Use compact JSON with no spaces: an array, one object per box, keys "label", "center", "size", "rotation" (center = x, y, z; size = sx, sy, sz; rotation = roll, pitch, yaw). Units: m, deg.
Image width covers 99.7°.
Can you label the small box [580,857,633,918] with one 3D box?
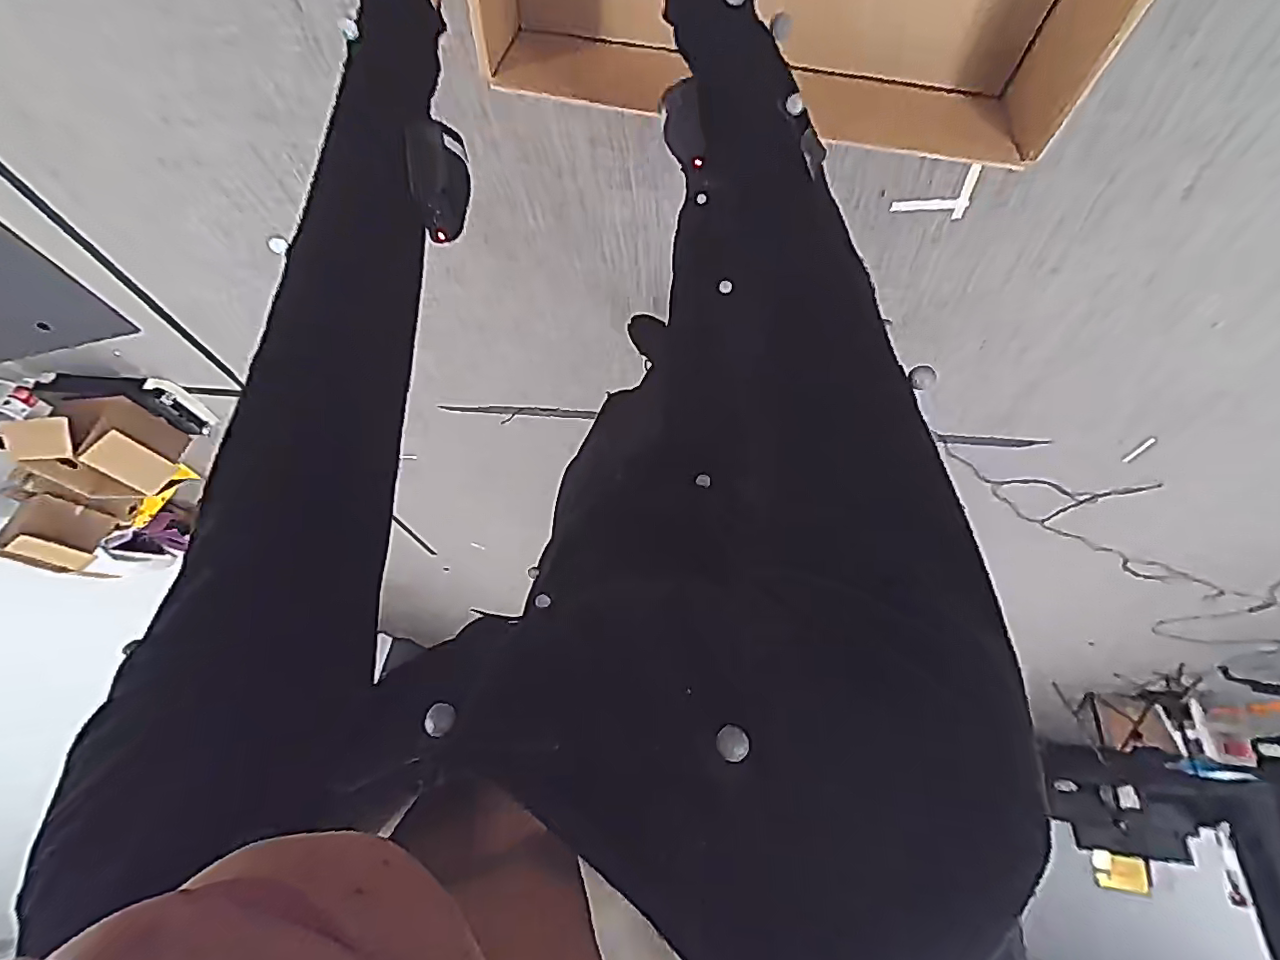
[{"label":"small box","center":[-0.130,1.640,2.185],"size":[0.168,0.176,0.179],"rotation":[1,151,13]}]
